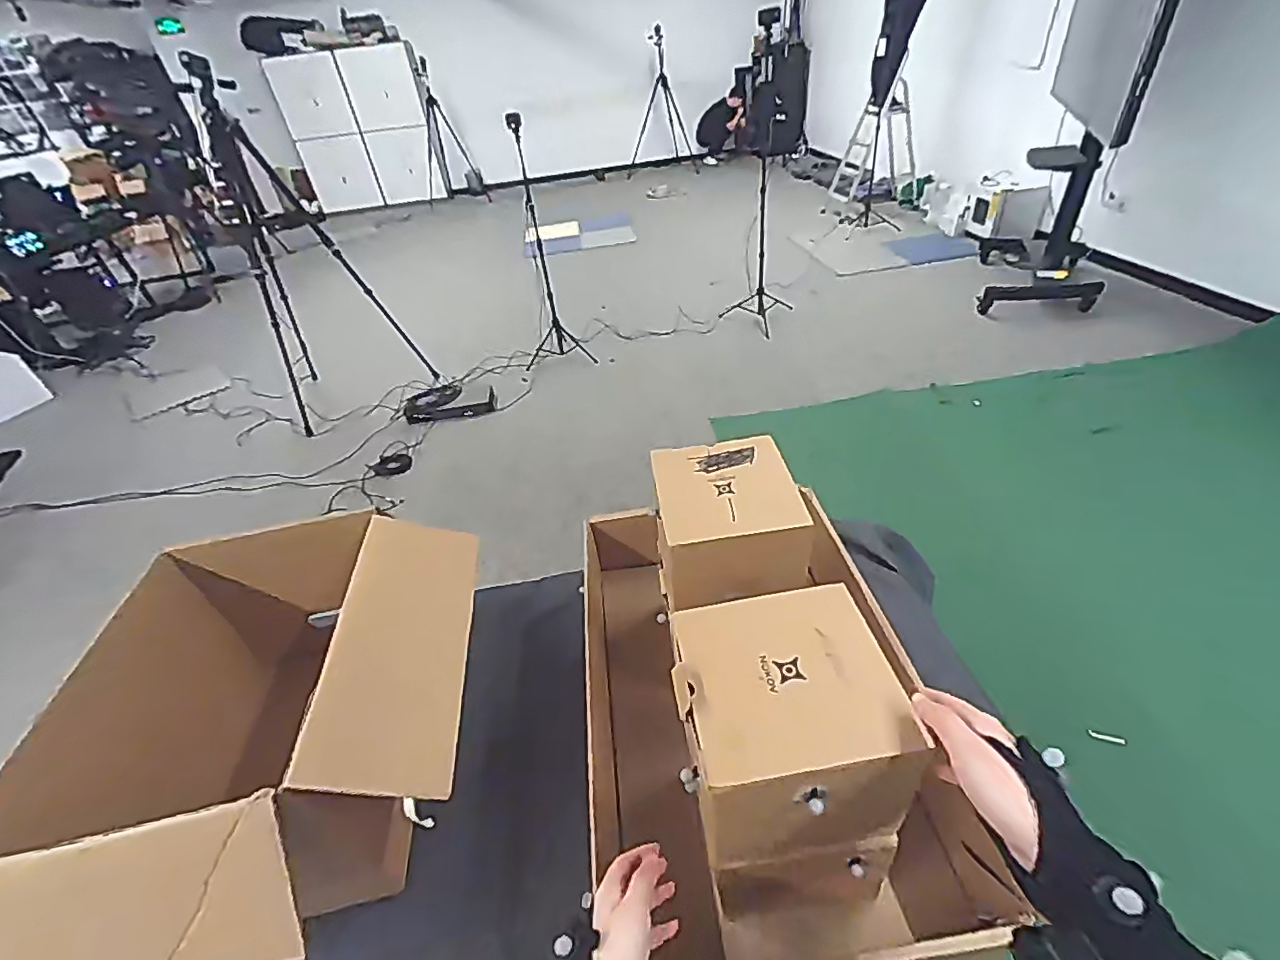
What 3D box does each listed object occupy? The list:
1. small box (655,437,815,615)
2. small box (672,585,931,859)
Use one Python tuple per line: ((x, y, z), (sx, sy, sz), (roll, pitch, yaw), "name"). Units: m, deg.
((0.113, 0.069, 0.709), (0.168, 0.176, 0.179), (-8, 40, 0), "small box")
((0.135, 0.229, 0.512), (0.179, 0.176, 0.168), (-9, 38, -2), "small box")
